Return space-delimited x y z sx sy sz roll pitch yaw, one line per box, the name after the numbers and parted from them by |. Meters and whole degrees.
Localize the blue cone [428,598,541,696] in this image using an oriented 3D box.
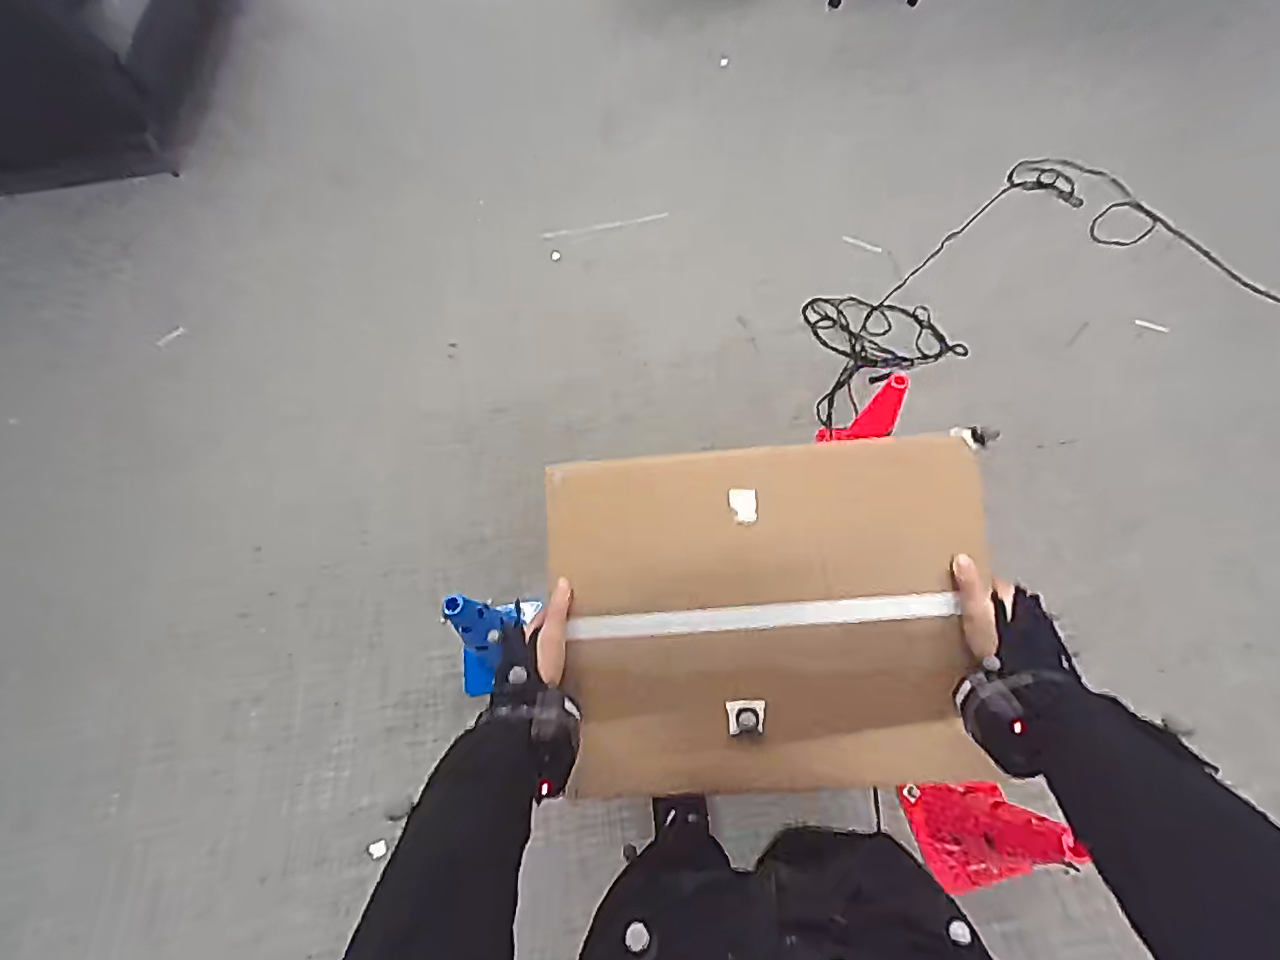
-0.343 0.320 1.141 0.192 0.380 0.193 -9 60 0 | blue cone

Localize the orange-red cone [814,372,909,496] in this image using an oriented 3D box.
0.566 -0.135 1.301 0.199 0.360 0.198 9 63 8 | orange-red cone

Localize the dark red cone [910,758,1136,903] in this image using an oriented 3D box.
0.626 0.579 0.870 0.202 0.394 0.201 -16 64 -4 | dark red cone
